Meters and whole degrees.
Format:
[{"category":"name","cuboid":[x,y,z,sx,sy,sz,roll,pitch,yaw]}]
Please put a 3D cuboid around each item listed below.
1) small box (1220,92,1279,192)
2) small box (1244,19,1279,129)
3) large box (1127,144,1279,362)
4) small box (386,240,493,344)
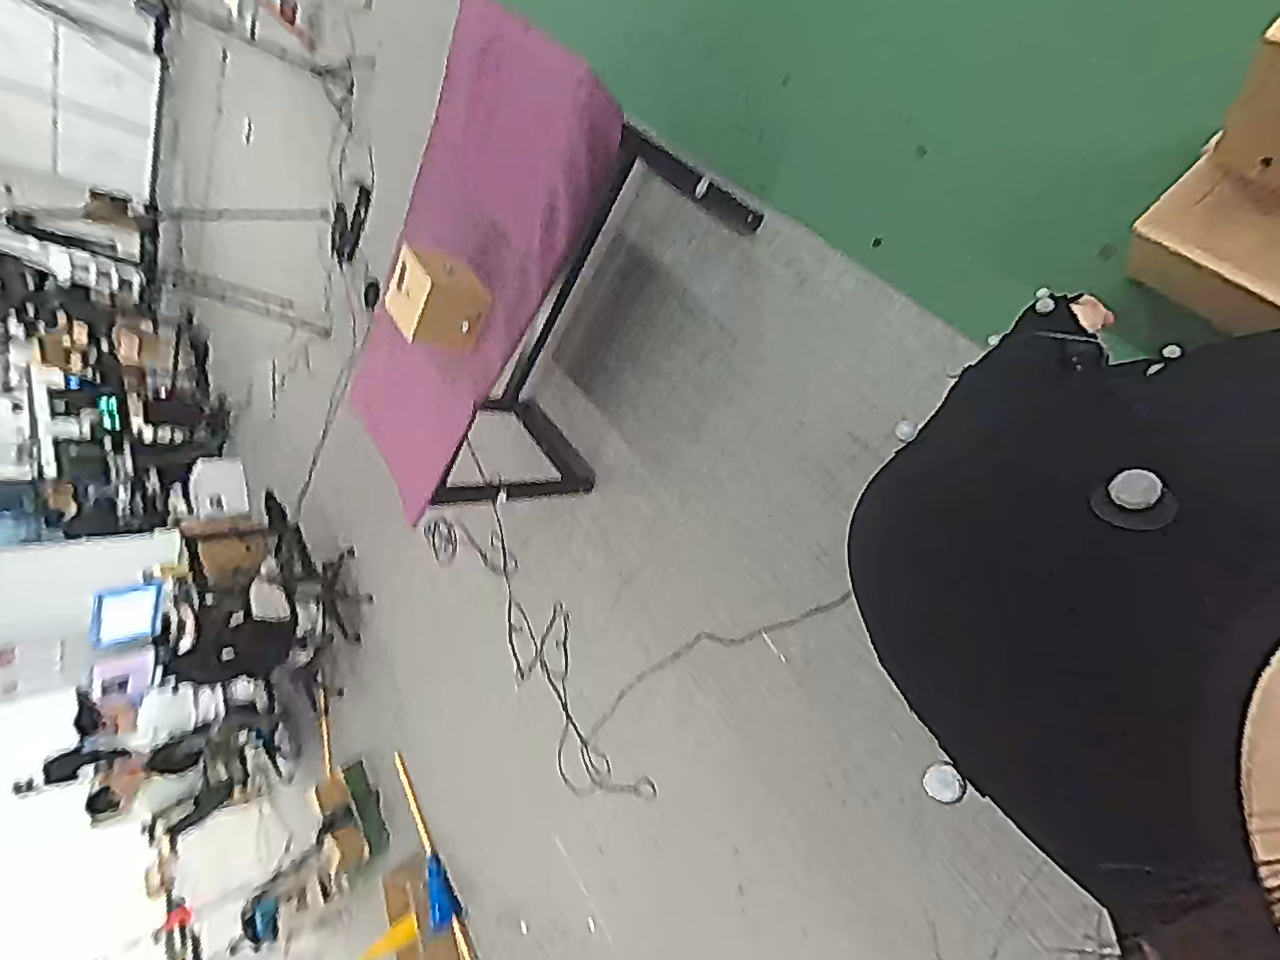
[{"category":"small box","cuboid":[0.912,-0.490,0.688,0.168,0.176,0.179,52,122,25]},{"category":"small box","cuboid":[0.806,-0.480,0.562,0.168,0.176,0.179,51,122,26]},{"category":"large box","cuboid":[1.102,-0.388,0.850,0.408,0.320,0.320,51,123,25]},{"category":"small box","cuboid":[-0.497,-0.457,1.342,0.179,0.176,0.168,52,122,26]}]
